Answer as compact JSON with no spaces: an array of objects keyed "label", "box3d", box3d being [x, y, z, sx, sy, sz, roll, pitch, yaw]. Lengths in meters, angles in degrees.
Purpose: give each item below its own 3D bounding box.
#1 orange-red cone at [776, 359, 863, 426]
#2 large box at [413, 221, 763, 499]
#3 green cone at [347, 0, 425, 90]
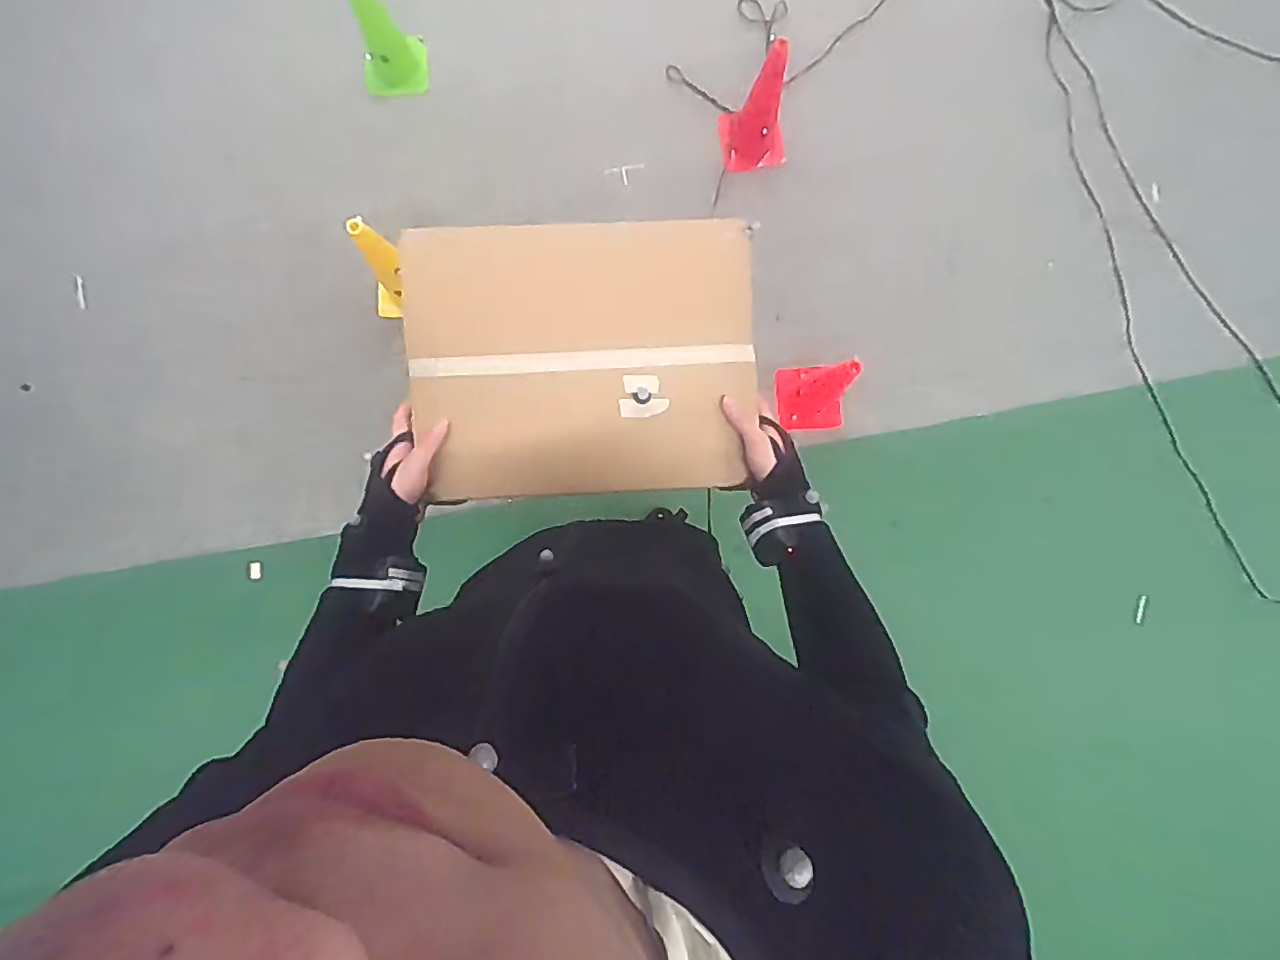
[{"label":"orange-red cone","box3d":[0.533,-0.277,1.521,0.199,0.360,0.198,-3,87,-3]},{"label":"large box","box3d":[-0.065,-0.152,0.791,0.408,0.320,0.320,-3,94,-3]},{"label":"green cone","box3d":[-0.798,-1.369,1.574,0.200,0.368,0.202,-5,87,-1]}]
